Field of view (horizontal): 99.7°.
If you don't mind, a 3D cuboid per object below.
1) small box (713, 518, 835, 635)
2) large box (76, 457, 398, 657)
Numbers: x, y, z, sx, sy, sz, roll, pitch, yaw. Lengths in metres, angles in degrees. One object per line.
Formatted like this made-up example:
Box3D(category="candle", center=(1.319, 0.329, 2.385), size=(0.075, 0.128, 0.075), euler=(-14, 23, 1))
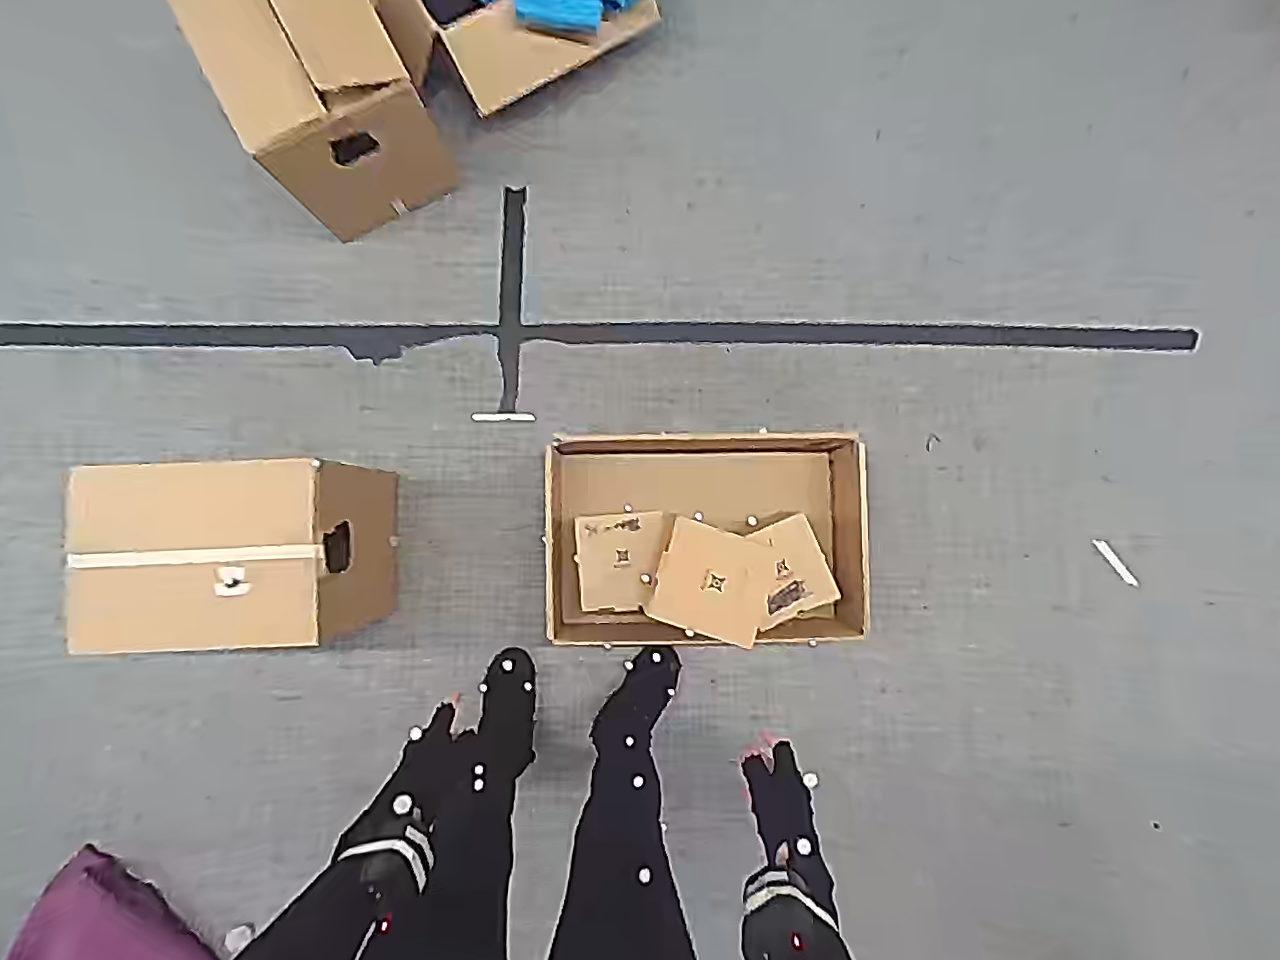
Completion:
Box3D(category="small box", center=(0.260, 0.184, 1.090), size=(0.168, 0.176, 0.179), euler=(-23, 86, -2))
Box3D(category="large box", center=(-0.731, 0.136, 1.043), size=(0.408, 0.320, 0.320), euler=(-3, 87, -2))
